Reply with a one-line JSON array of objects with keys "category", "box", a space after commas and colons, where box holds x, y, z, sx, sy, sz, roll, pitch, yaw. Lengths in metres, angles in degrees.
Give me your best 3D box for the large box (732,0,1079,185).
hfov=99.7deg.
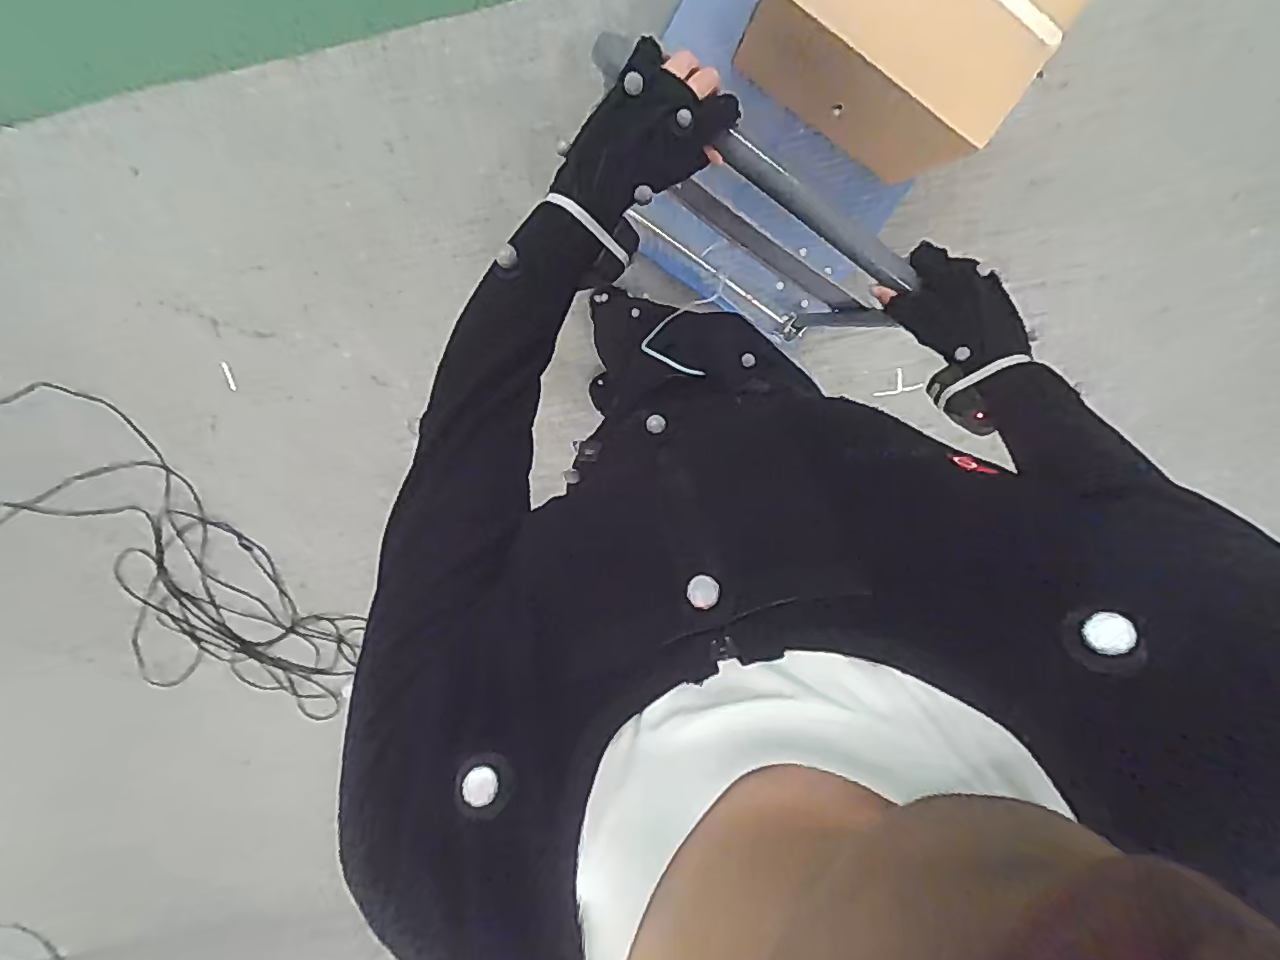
[{"category": "large box", "box": [0.420, -0.768, 0.899, 0.408, 0.320, 0.320, 30, 106, -10]}]
